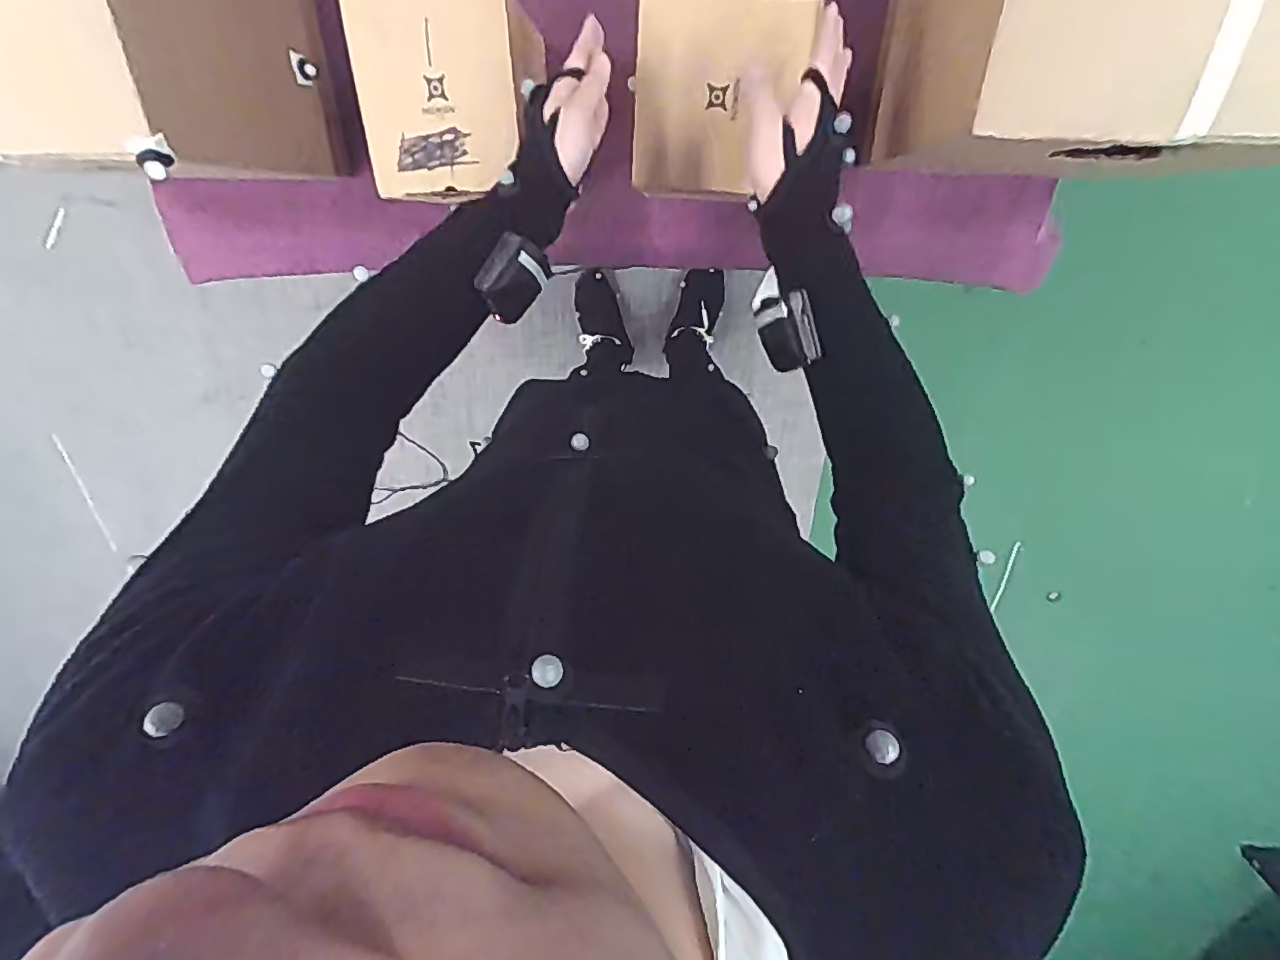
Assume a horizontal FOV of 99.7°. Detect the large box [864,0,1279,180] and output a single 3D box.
[{"bbox_3d":[0.425,-0.496,0.462,0.320,0.320,0.408,4,117,4],"label":"large box"}]
